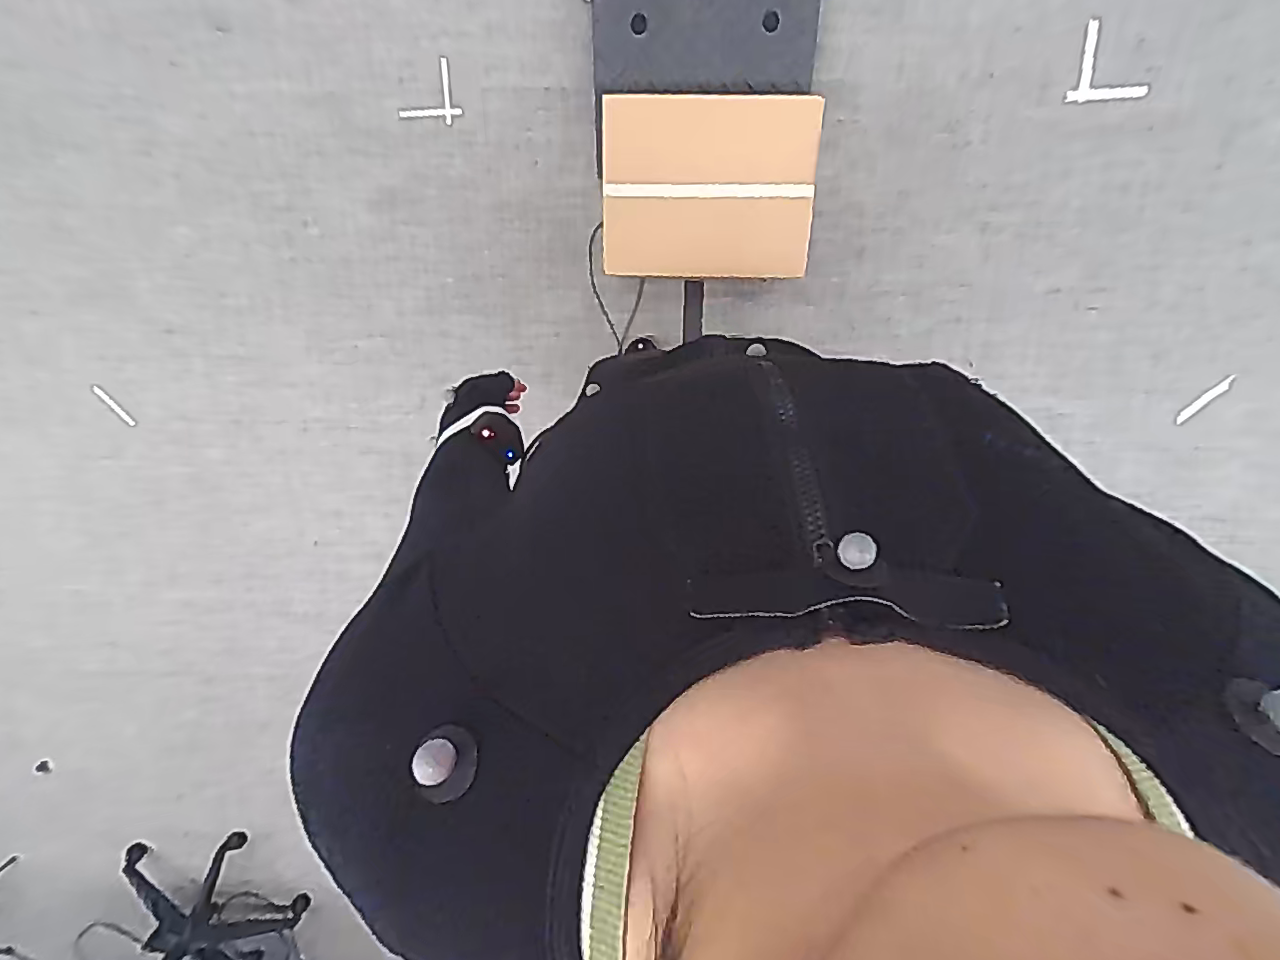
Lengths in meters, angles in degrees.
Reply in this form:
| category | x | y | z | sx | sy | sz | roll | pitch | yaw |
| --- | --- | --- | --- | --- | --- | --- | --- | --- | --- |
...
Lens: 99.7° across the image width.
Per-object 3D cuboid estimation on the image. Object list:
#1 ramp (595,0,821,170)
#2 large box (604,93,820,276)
| category | x | y | z | sx | sy | sz | roll | pitch | yaw |
| --- | --- | --- | --- | --- | --- | --- | --- | --- | --- |
| ramp | 0.145 | -1.196 | 1.088 | 0.509 | 0.206 | 0.991 | -1 | 106 | 2 |
| large box | 0.140 | -0.613 | 1.182 | 0.408 | 0.320 | 0.320 | 2 | 109 | 2 |
